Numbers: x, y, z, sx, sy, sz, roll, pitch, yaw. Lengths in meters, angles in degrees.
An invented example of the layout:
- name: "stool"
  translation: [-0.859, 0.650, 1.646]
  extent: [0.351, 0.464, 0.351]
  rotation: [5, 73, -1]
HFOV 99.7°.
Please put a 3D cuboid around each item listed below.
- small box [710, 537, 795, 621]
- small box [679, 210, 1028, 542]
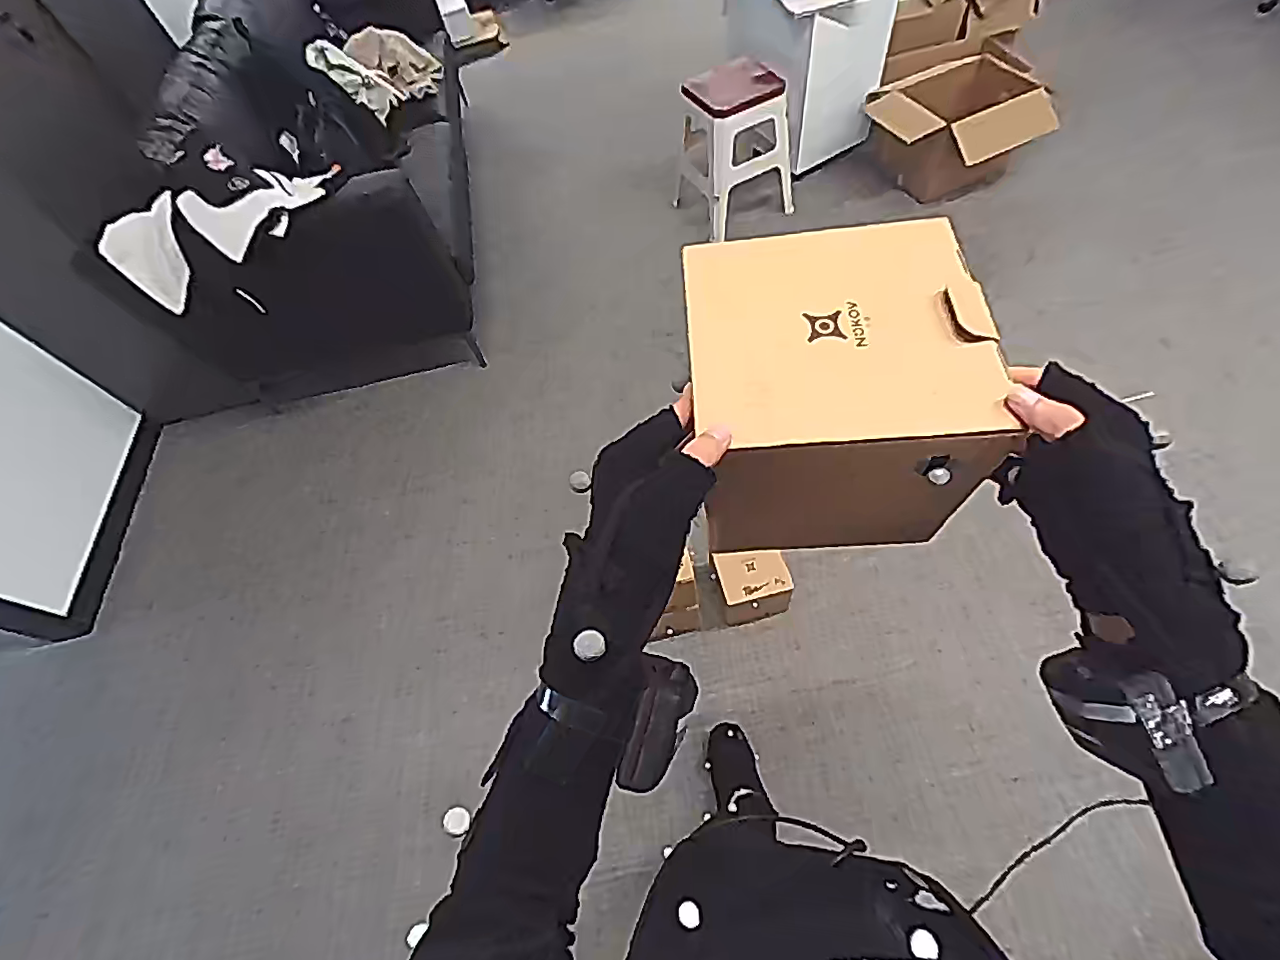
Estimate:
- name: "small box"
  translation: [0.280, 0.238, 1.384]
  extent: [0.168, 0.176, 0.179]
  rotation: [-15, 58, 1]
- name: "small box"
  translation: [0.125, -0.060, 0.394]
  extent: [0.179, 0.176, 0.168]
  rotation: [-4, 63, 6]
